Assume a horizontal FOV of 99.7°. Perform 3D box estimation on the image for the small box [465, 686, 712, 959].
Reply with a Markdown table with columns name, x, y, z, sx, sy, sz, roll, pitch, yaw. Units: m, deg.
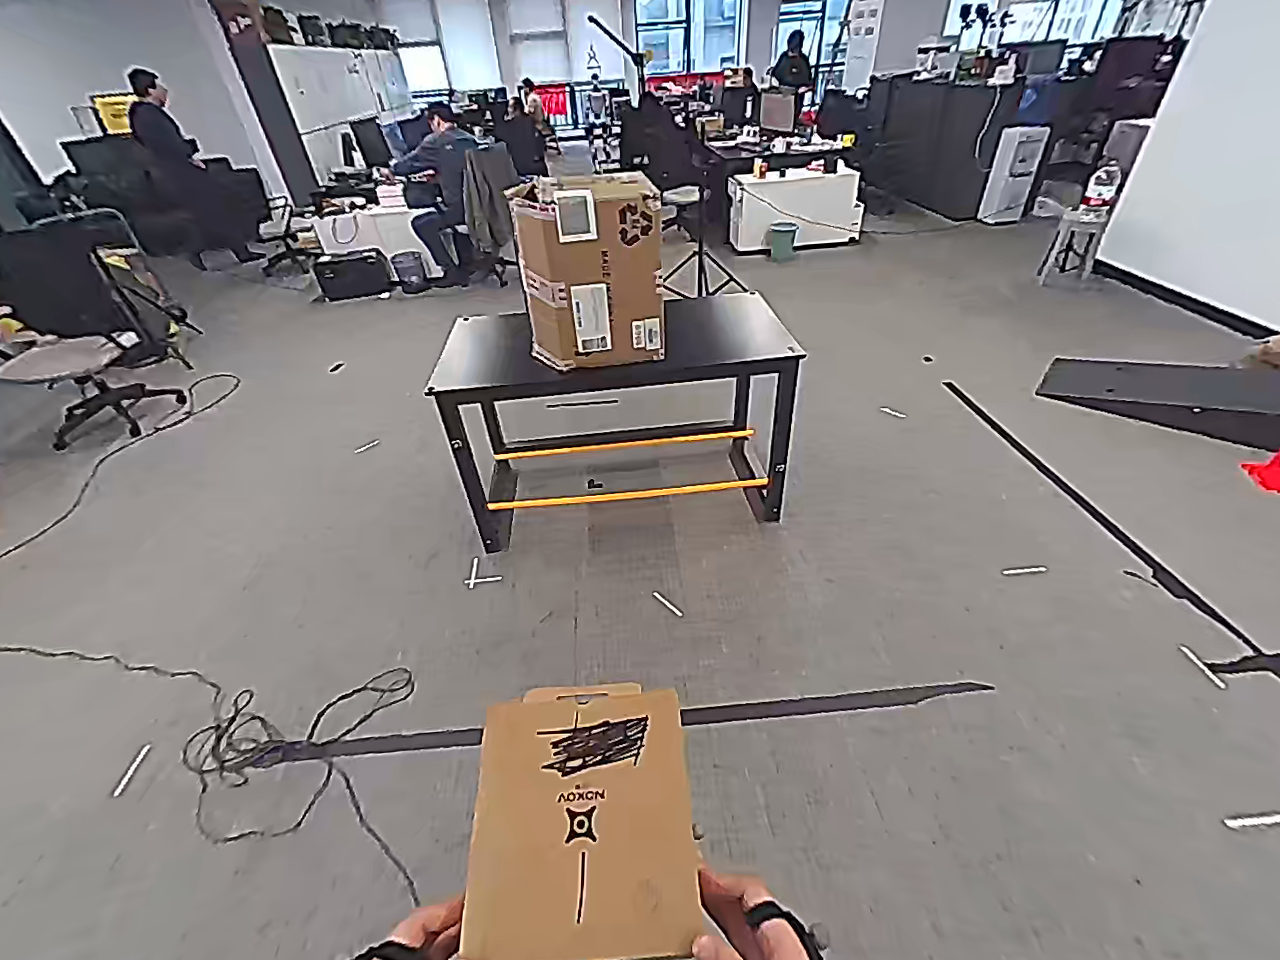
| name | x | y | z | sx | sy | sz | roll | pitch | yaw |
| --- | --- | --- | --- | --- | --- | --- | --- | --- | --- |
| small box | -0.038 | 0.301 | 0.468 | 0.168 | 0.176 | 0.179 | -4 | 48 | -2 |
